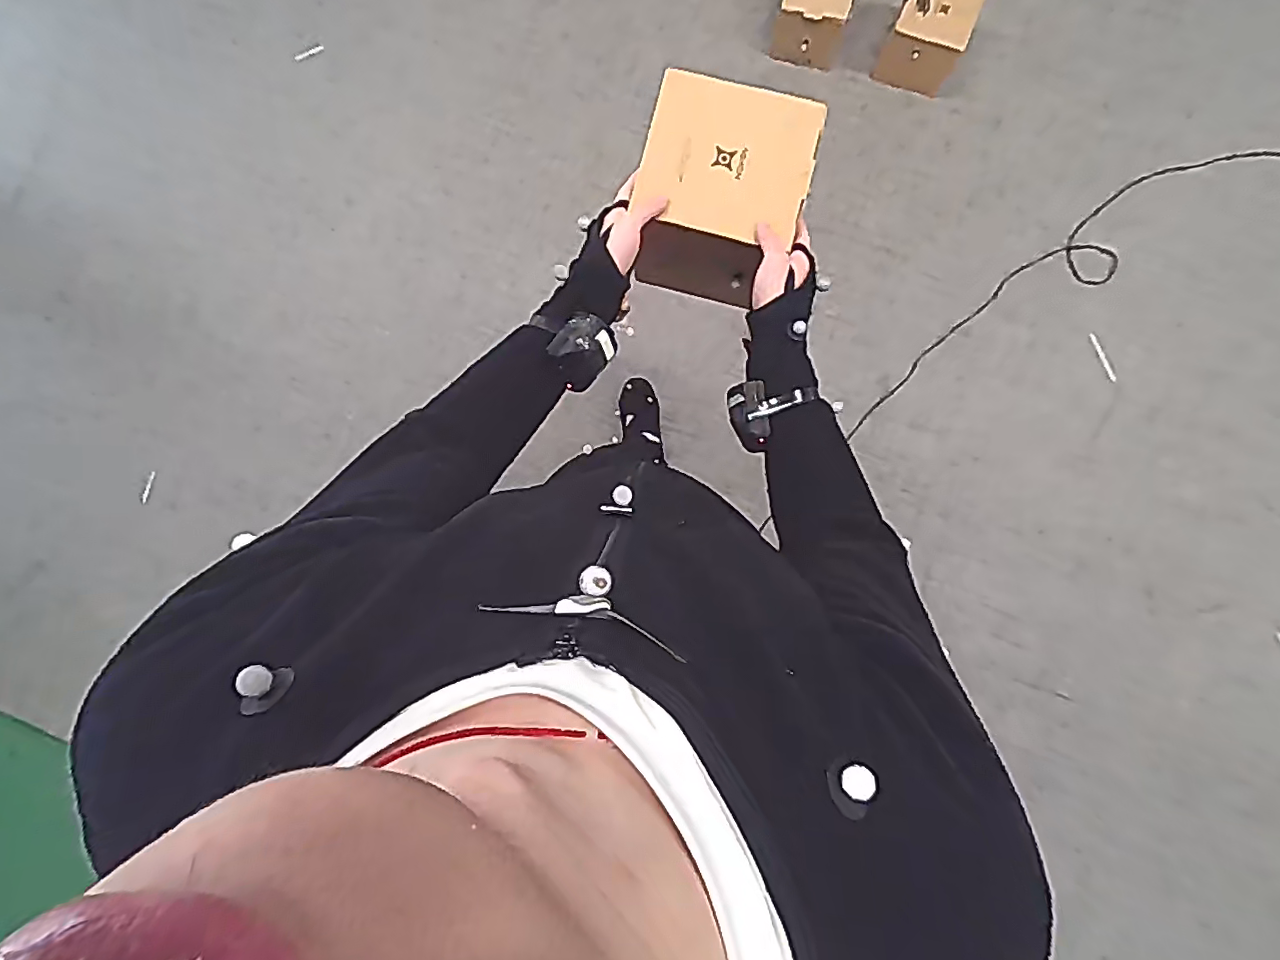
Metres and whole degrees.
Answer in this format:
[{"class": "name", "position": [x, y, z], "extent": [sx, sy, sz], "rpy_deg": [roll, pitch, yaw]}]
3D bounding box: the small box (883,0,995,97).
[{"class": "small box", "position": [0.747, -1.120, 1.368], "extent": [0.179, 0.176, 0.168], "rpy_deg": [26, 96, 6]}]

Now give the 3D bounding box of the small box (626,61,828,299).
[{"class": "small box", "position": [0.095, -0.336, 0.640], "extent": [0.179, 0.176, 0.168], "rpy_deg": [16, 86, 4]}]

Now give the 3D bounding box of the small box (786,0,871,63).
[{"class": "small box", "position": [0.482, -1.227, 1.391], "extent": [0.179, 0.176, 0.168], "rpy_deg": [-13, 88, 8]}]
